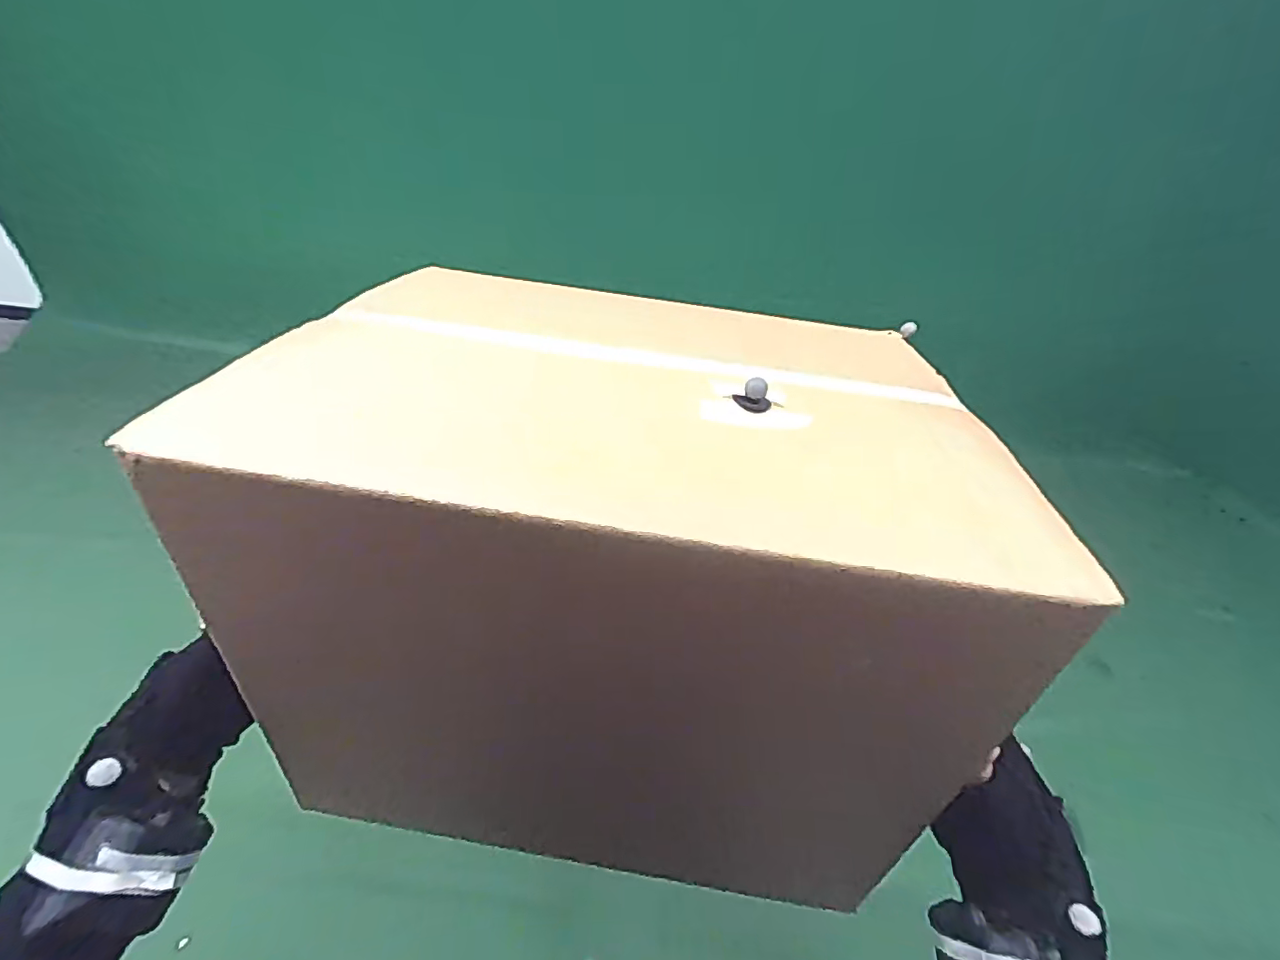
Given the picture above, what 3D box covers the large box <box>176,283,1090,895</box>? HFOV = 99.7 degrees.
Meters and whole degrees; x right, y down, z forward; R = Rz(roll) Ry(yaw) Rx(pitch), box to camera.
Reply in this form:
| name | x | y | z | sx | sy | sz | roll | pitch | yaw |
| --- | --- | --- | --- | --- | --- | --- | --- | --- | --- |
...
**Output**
| name | x | y | z | sx | sy | sz | roll | pitch | yaw |
| --- | --- | --- | --- | --- | --- | --- | --- | --- | --- |
| large box | -0.010 | 0.061 | 0.432 | 0.408 | 0.320 | 0.320 | 10 | 34 | 2 |
